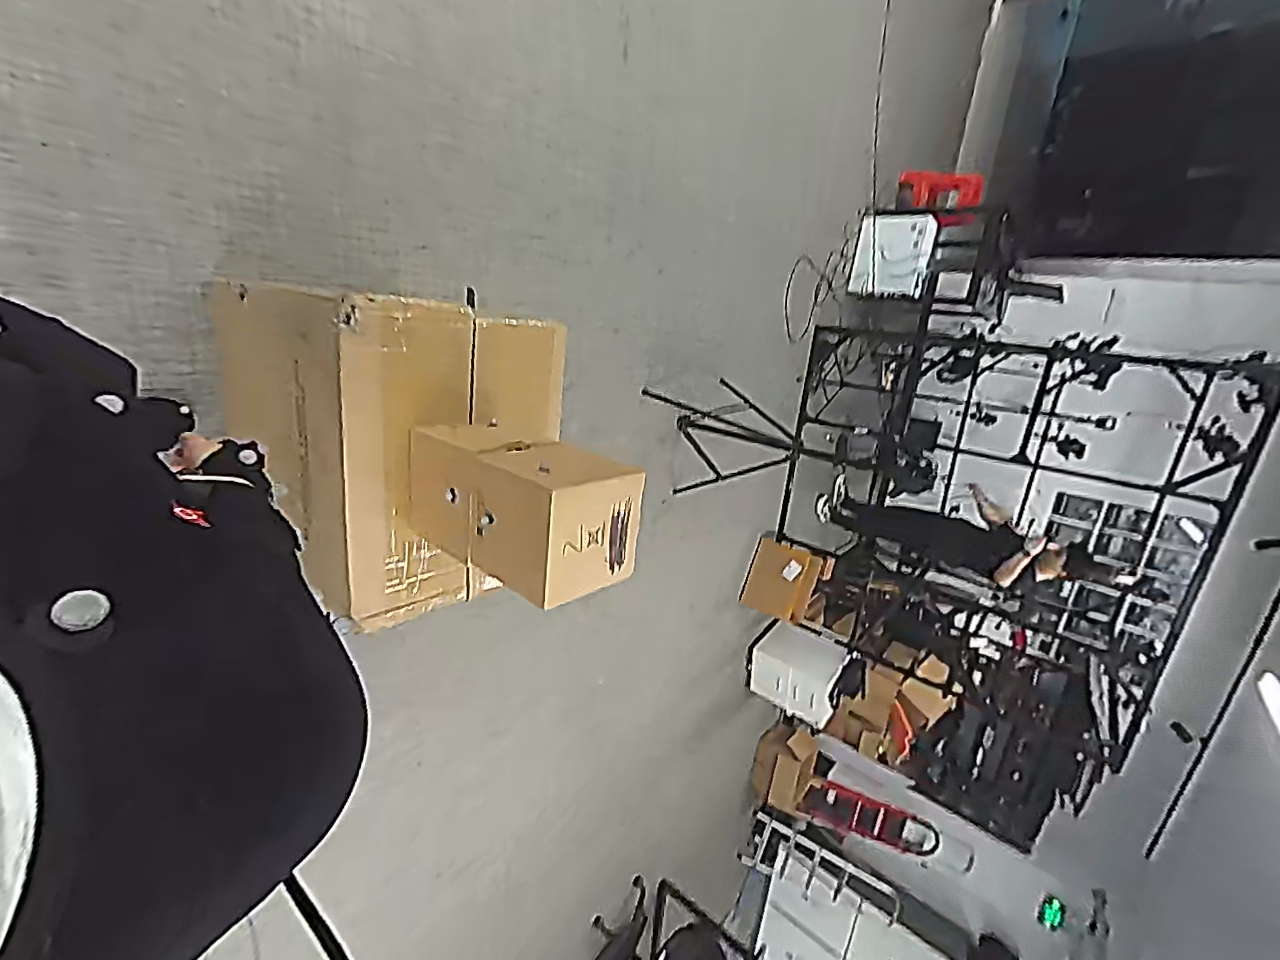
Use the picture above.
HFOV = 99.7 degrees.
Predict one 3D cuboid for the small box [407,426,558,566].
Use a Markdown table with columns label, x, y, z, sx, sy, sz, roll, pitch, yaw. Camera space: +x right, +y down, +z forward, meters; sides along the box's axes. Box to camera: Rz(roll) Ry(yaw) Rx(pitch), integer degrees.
| label | x | y | z | sx | sy | sz | roll | pitch | yaw |
| --- | --- | --- | --- | --- | --- | --- | --- | --- | --- |
| small box | -0.253 | 0.013 | 0.863 | 0.168 | 0.176 | 0.179 | -11 | 114 | -49 |
